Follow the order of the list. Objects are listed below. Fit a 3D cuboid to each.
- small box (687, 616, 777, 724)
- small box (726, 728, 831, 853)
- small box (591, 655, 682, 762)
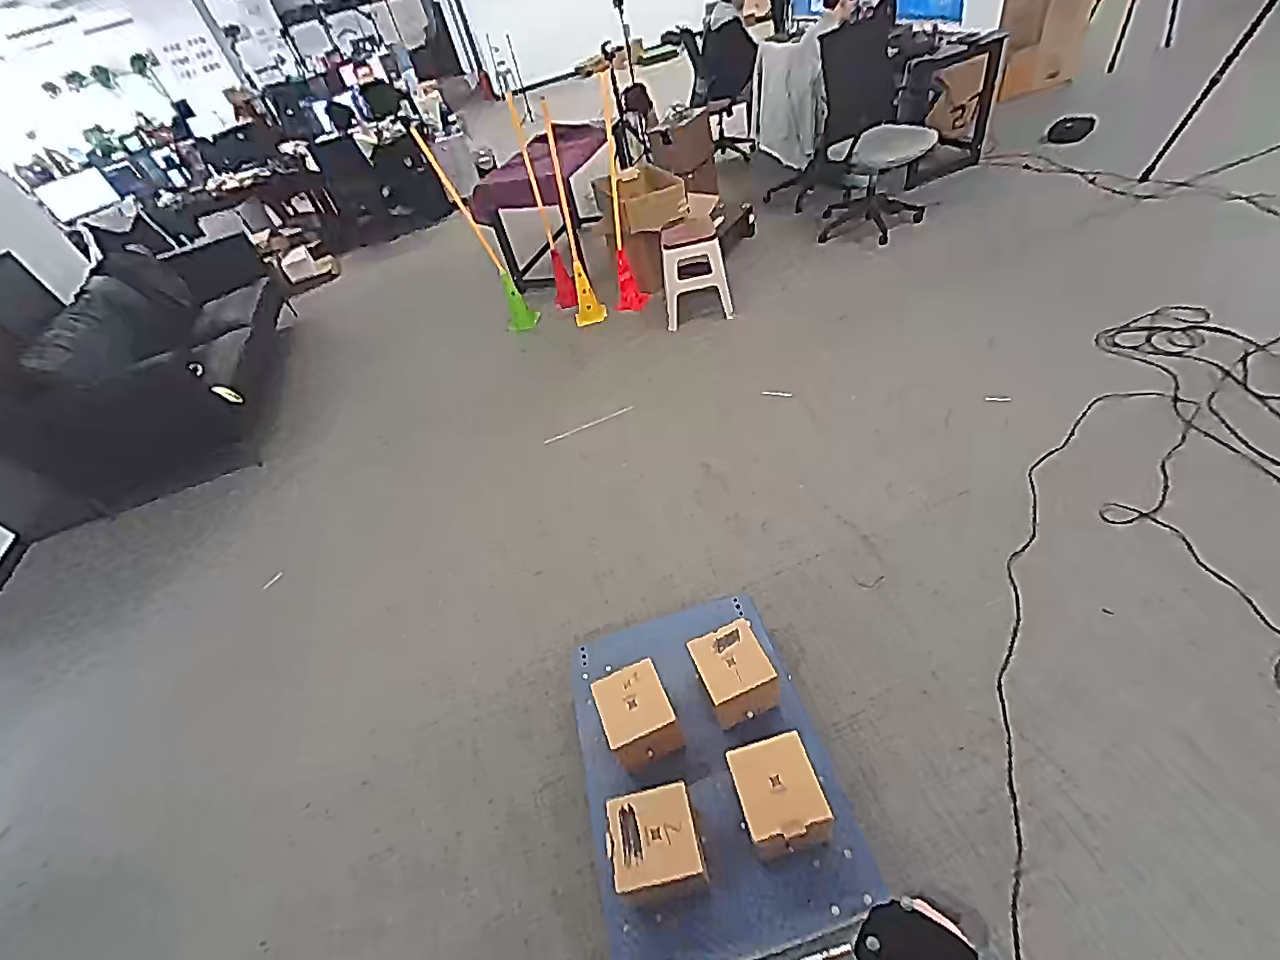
[{"bbox_3d":[0.236,0.487,1.382,0.168,0.176,0.179,-22,45,-6],"label":"small box"},{"bbox_3d":[0.295,0.676,1.177,0.168,0.176,0.179,-17,45,-2],"label":"small box"},{"bbox_3d":[-0.006,0.579,1.356,0.168,0.176,0.179,-22,44,-8],"label":"small box"}]
